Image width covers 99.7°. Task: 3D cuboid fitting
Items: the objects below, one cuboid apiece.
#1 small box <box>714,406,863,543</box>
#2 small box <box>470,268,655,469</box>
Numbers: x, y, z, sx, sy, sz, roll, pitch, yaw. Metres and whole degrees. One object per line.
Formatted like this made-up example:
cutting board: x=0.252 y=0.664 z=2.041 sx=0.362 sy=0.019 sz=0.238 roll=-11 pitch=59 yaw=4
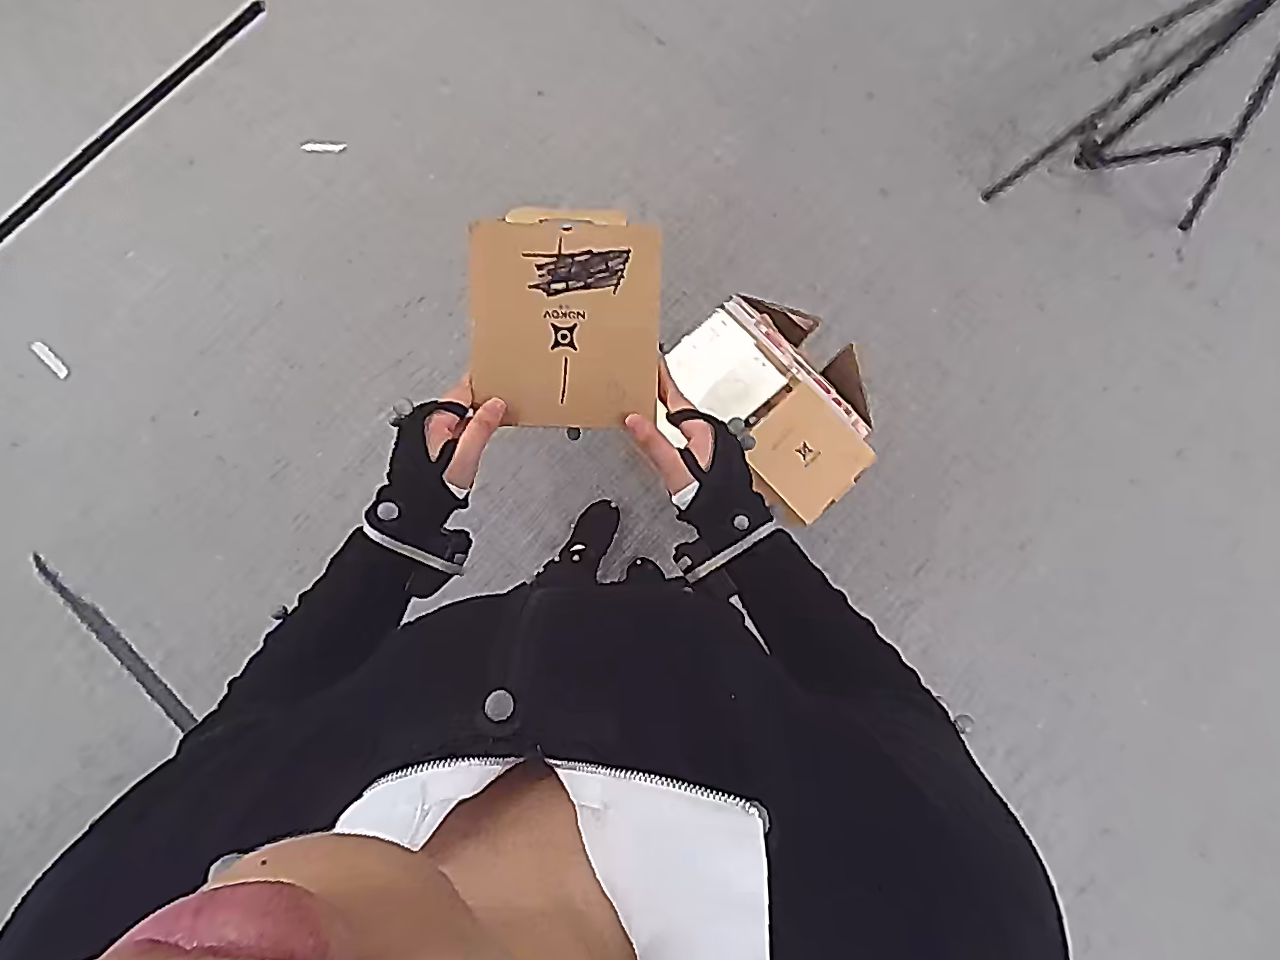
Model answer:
small box: x=0.257 y=-0.005 z=0.981 sx=0.168 sy=0.176 sz=0.179 roll=-44 pitch=86 yaw=-4
small box: x=-0.073 y=-0.108 z=0.565 sx=0.168 sy=0.176 sz=0.179 roll=1 pitch=98 yaw=-1
